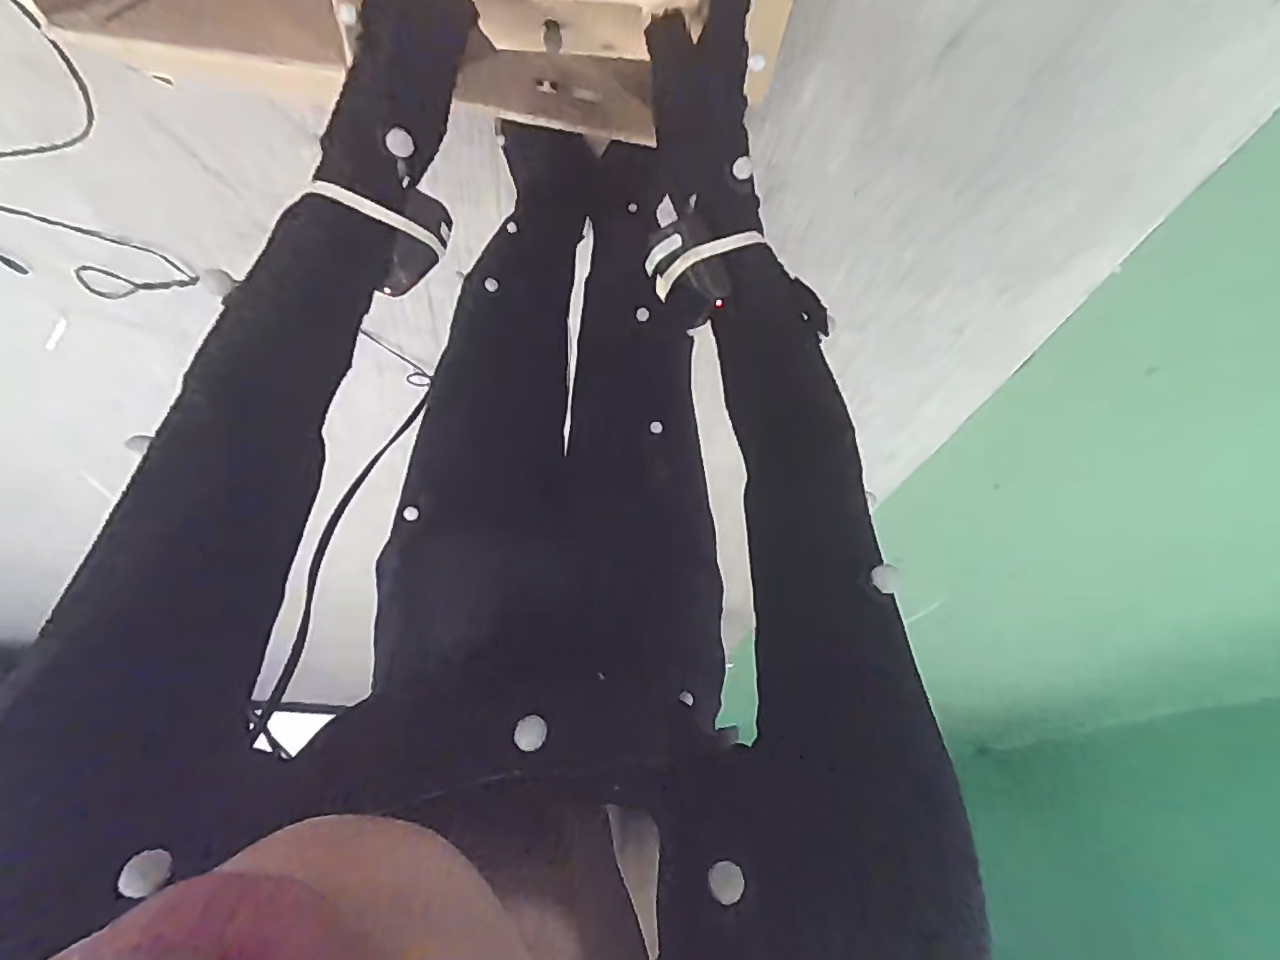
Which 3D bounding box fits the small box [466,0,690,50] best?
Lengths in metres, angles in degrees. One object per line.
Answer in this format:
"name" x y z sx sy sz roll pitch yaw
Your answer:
"small box" -0.044 -0.428 0.377 0.168 0.176 0.179 0 118 -4
